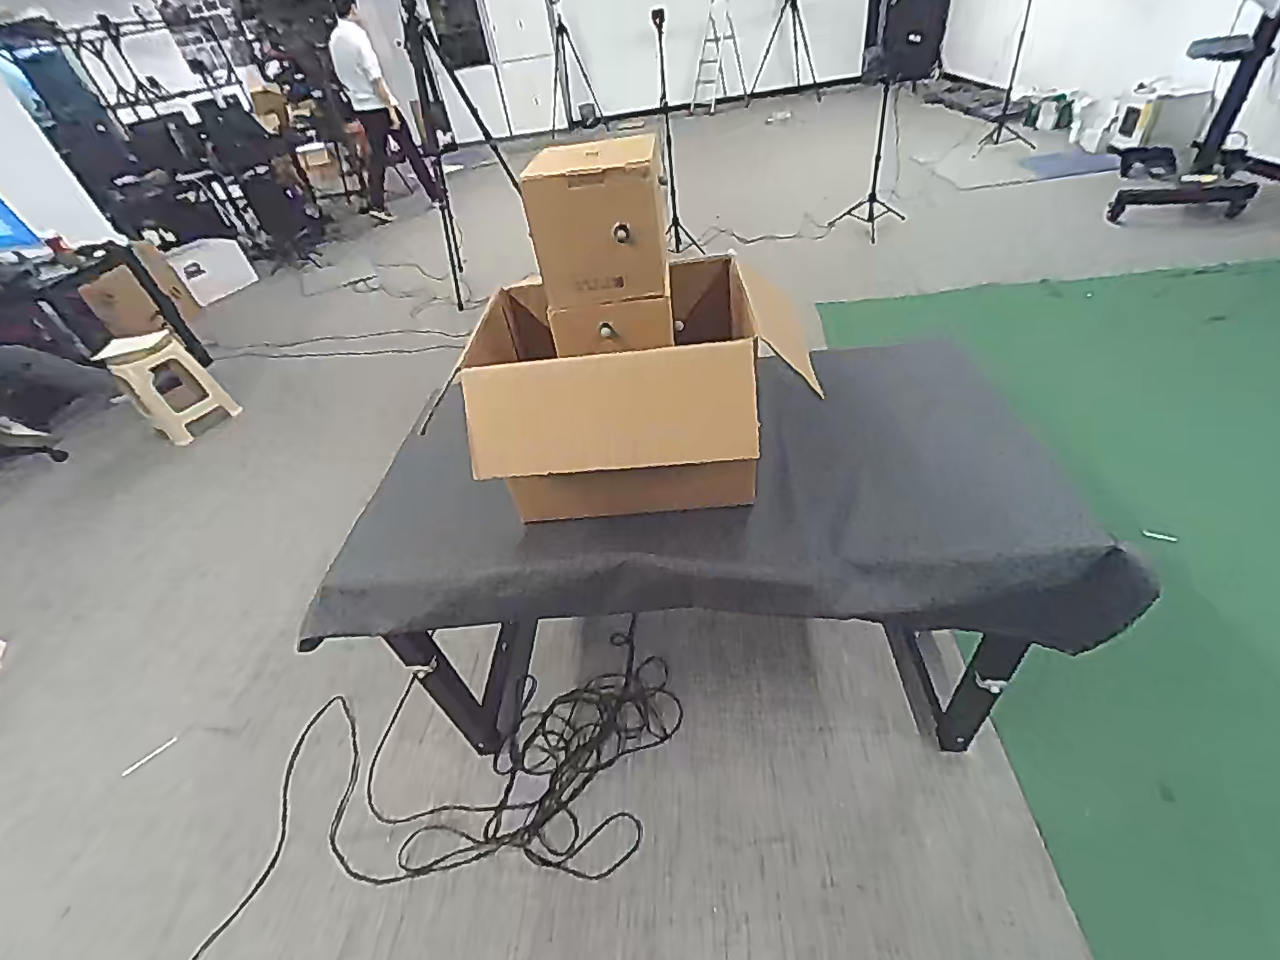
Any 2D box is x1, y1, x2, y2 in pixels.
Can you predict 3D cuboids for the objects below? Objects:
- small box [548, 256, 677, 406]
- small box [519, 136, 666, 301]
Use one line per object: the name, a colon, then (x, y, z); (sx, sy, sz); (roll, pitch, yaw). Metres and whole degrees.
small box: (-0.032, -0.234, 0.858); (0.179, 0.176, 0.168); (-5, 41, 6)
small box: (-0.053, -0.360, 0.758); (0.168, 0.176, 0.179); (-3, 40, 7)
